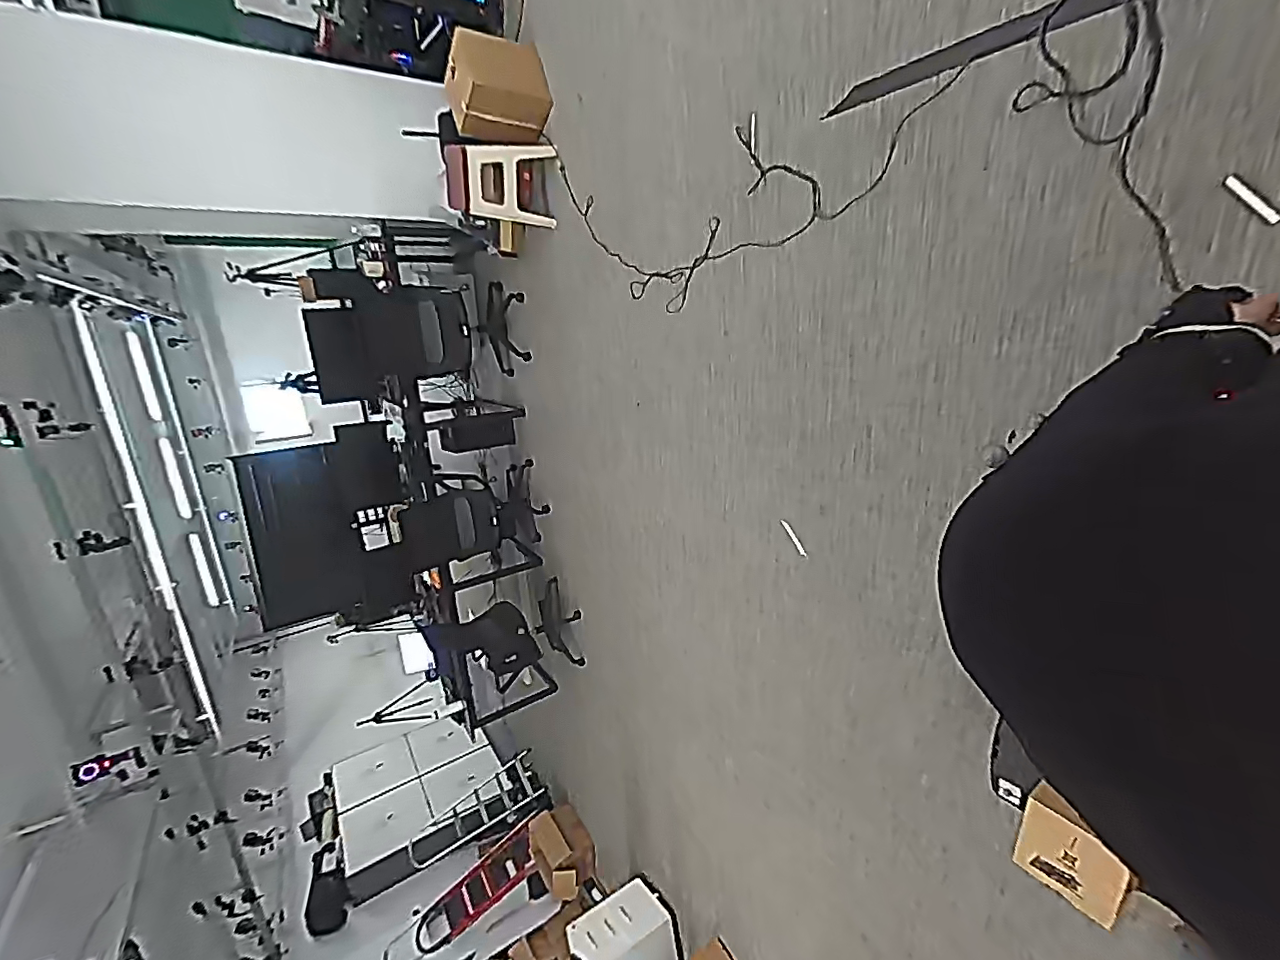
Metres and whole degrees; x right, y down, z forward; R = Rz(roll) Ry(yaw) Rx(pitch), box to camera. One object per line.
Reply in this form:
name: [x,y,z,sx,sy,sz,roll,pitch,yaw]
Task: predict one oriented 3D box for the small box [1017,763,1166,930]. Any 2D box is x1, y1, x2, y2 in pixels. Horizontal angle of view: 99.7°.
small box: [0.882,0.704,1.059,0.168,0.176,0.179,23,120,52]
